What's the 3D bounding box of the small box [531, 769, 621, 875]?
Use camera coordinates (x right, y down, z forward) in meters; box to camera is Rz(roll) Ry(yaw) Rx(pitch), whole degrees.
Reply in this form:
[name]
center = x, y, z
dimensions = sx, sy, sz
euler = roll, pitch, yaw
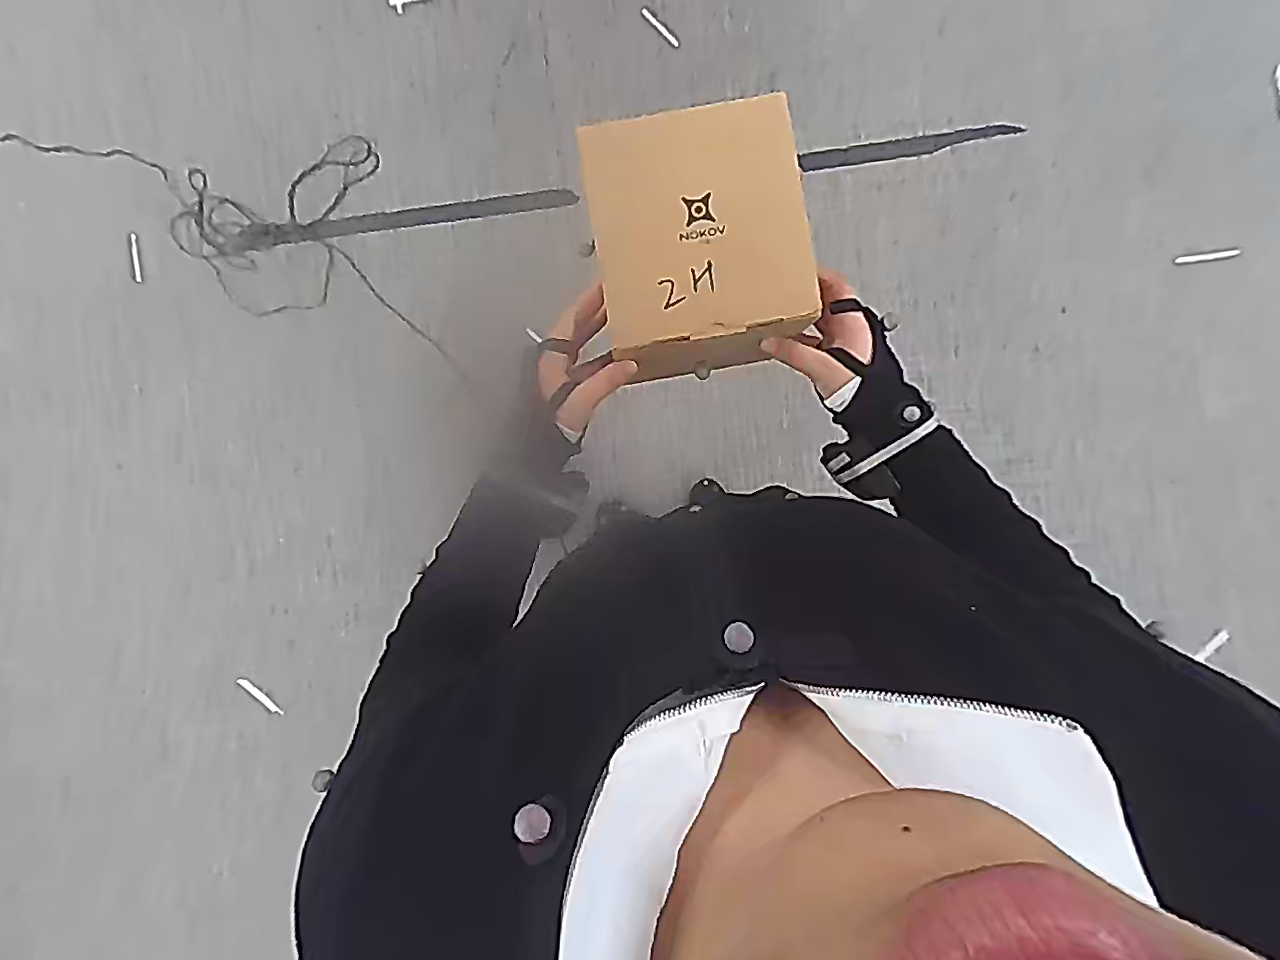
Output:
[small box]
center = -0.138, 0.776, 1.246
dimensions = 0.179, 0.176, 0.168
euler = -7, 91, 3
